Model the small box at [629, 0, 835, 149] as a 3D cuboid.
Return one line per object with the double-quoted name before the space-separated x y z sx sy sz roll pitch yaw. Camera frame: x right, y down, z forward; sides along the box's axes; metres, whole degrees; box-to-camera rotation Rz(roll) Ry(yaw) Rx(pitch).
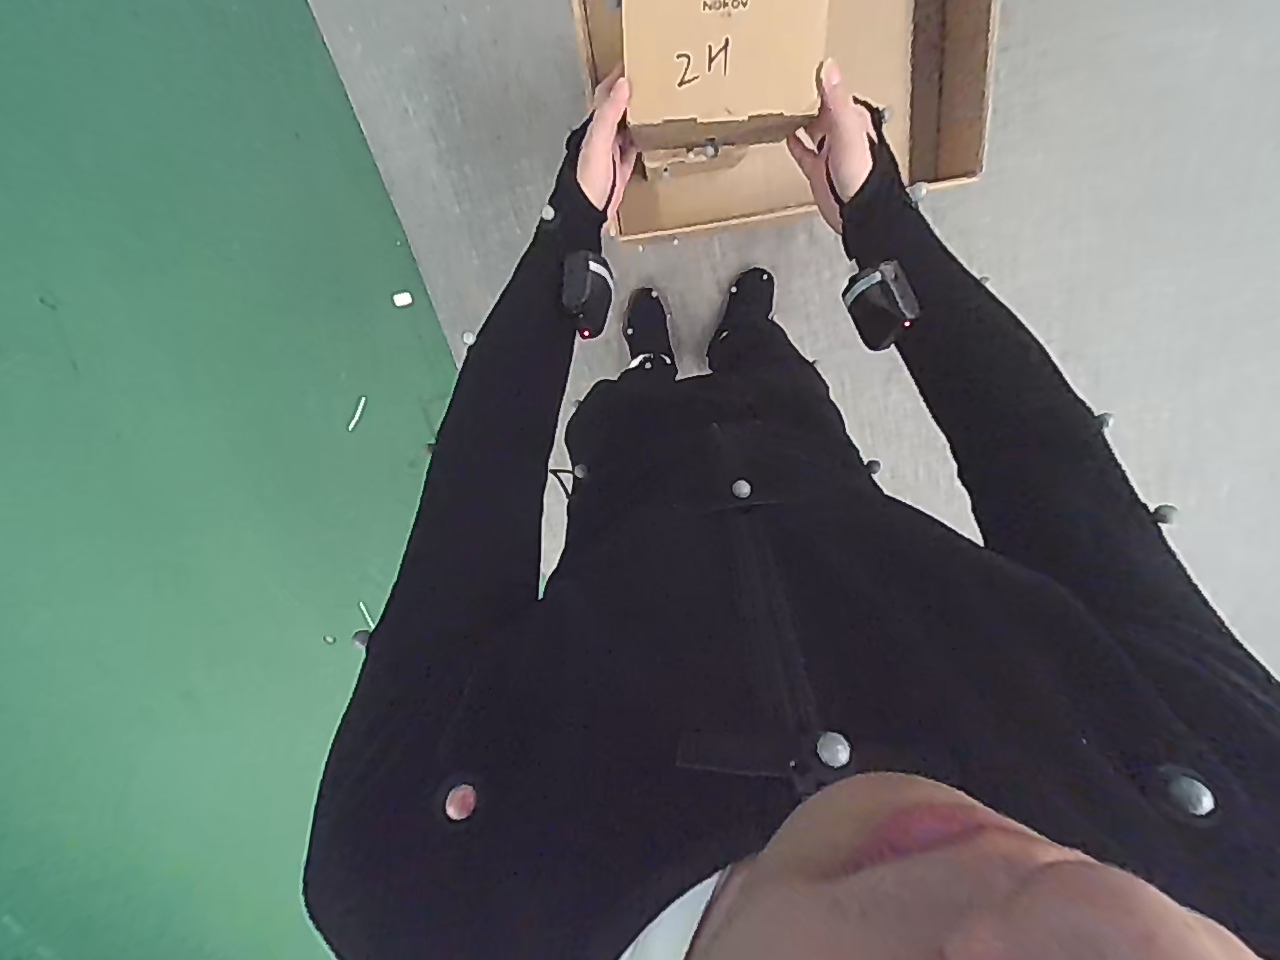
"small box" 0.073 -0.418 0.497 0.168 0.176 0.179 -1 116 3
